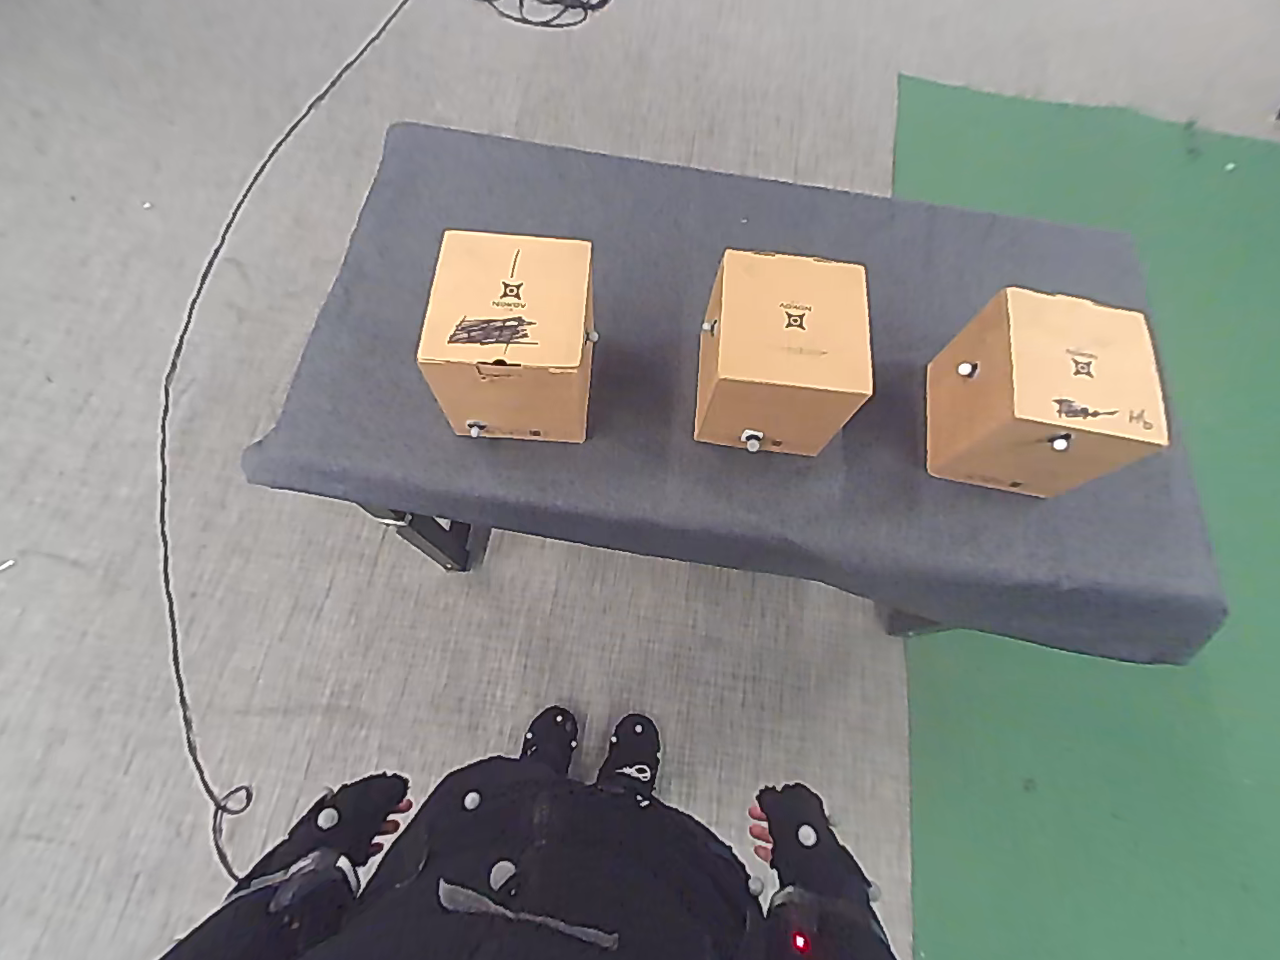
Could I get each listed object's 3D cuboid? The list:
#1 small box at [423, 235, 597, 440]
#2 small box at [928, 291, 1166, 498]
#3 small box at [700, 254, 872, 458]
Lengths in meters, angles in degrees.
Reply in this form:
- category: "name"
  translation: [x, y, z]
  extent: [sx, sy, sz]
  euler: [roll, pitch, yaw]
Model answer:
- category: "small box"
  translation: [-0.141, -0.162, 0.656]
  extent: [0.168, 0.176, 0.179]
  euler: [4, 67, -3]
- category: "small box"
  translation: [0.481, -0.098, 0.672]
  extent: [0.168, 0.176, 0.179]
  euler: [11, 68, 2]
- category: "small box"
  translation: [0.169, -0.146, 0.674]
  extent: [0.168, 0.176, 0.179]
  euler: [6, 70, 0]
